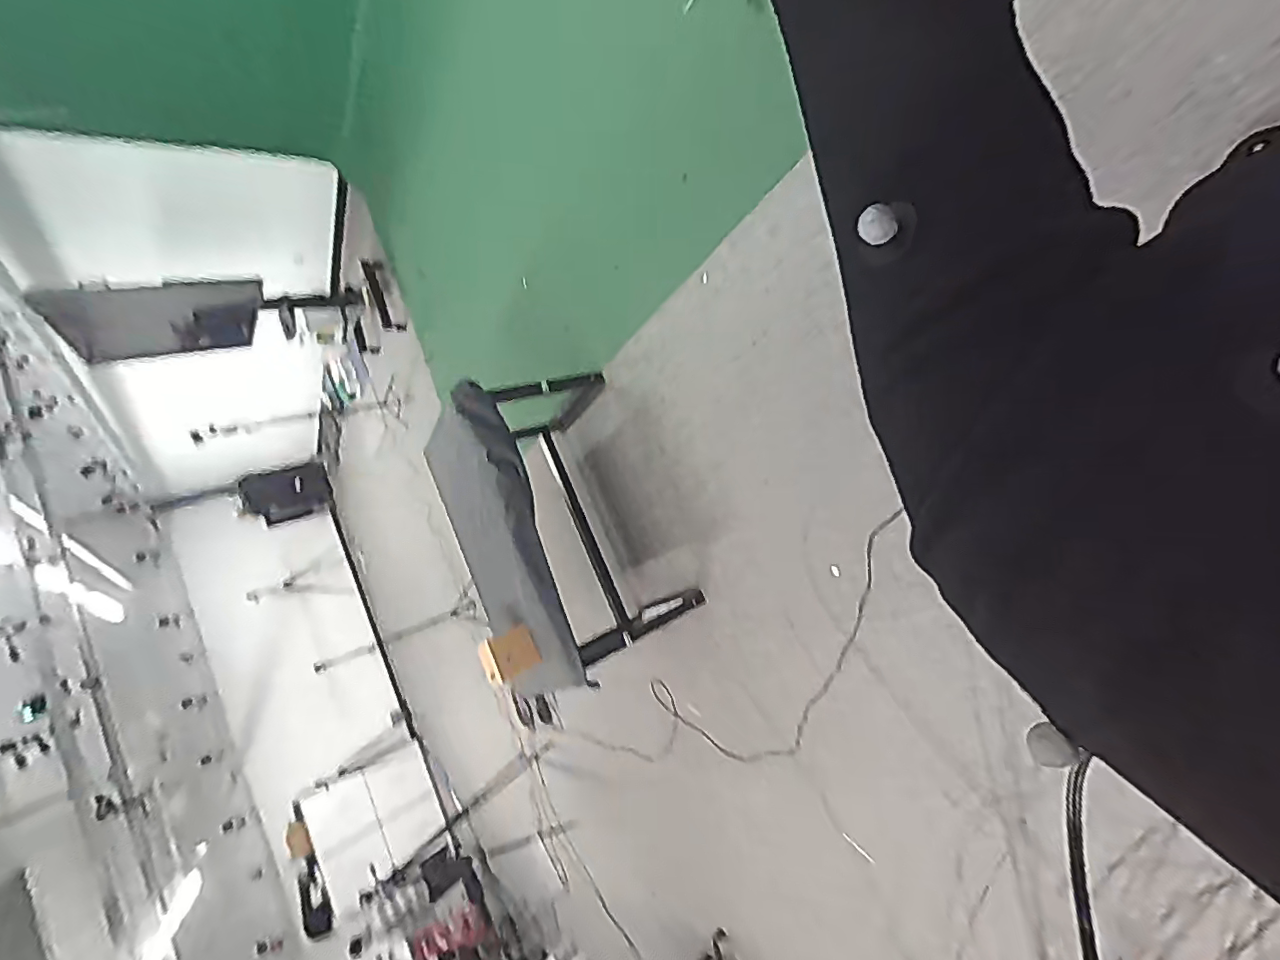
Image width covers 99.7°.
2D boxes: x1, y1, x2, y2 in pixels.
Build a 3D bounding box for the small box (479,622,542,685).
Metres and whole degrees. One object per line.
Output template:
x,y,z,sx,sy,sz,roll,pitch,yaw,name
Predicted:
-0.506,0.679,2.120,0.168,0.176,0.179,-39,72,52,small box
